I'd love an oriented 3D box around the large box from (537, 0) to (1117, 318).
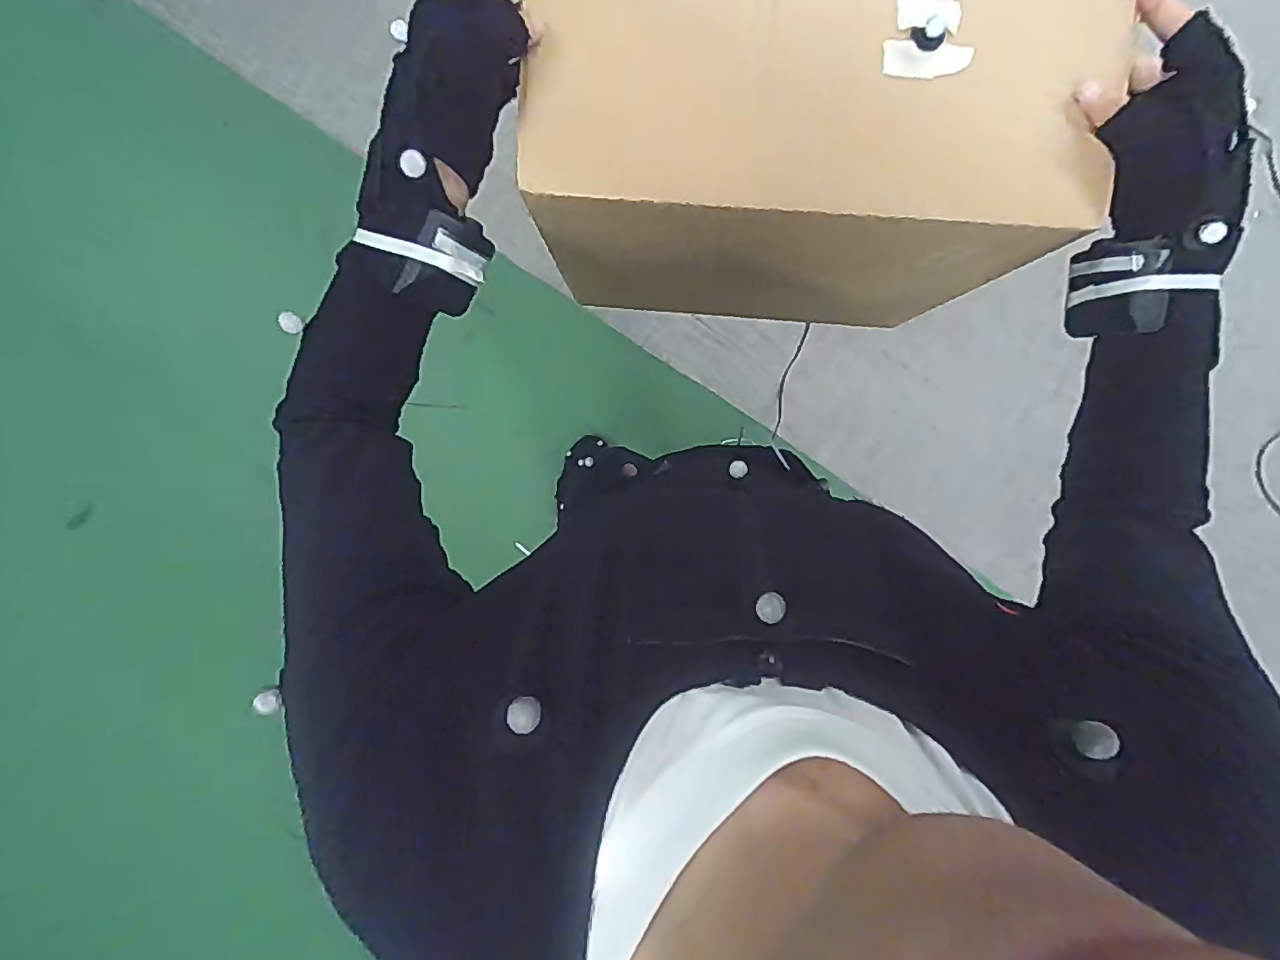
[{"bbox_3d":[0.129,-0.355,0.521,0.408,0.320,0.320,4,94,-1],"label":"large box"}]
